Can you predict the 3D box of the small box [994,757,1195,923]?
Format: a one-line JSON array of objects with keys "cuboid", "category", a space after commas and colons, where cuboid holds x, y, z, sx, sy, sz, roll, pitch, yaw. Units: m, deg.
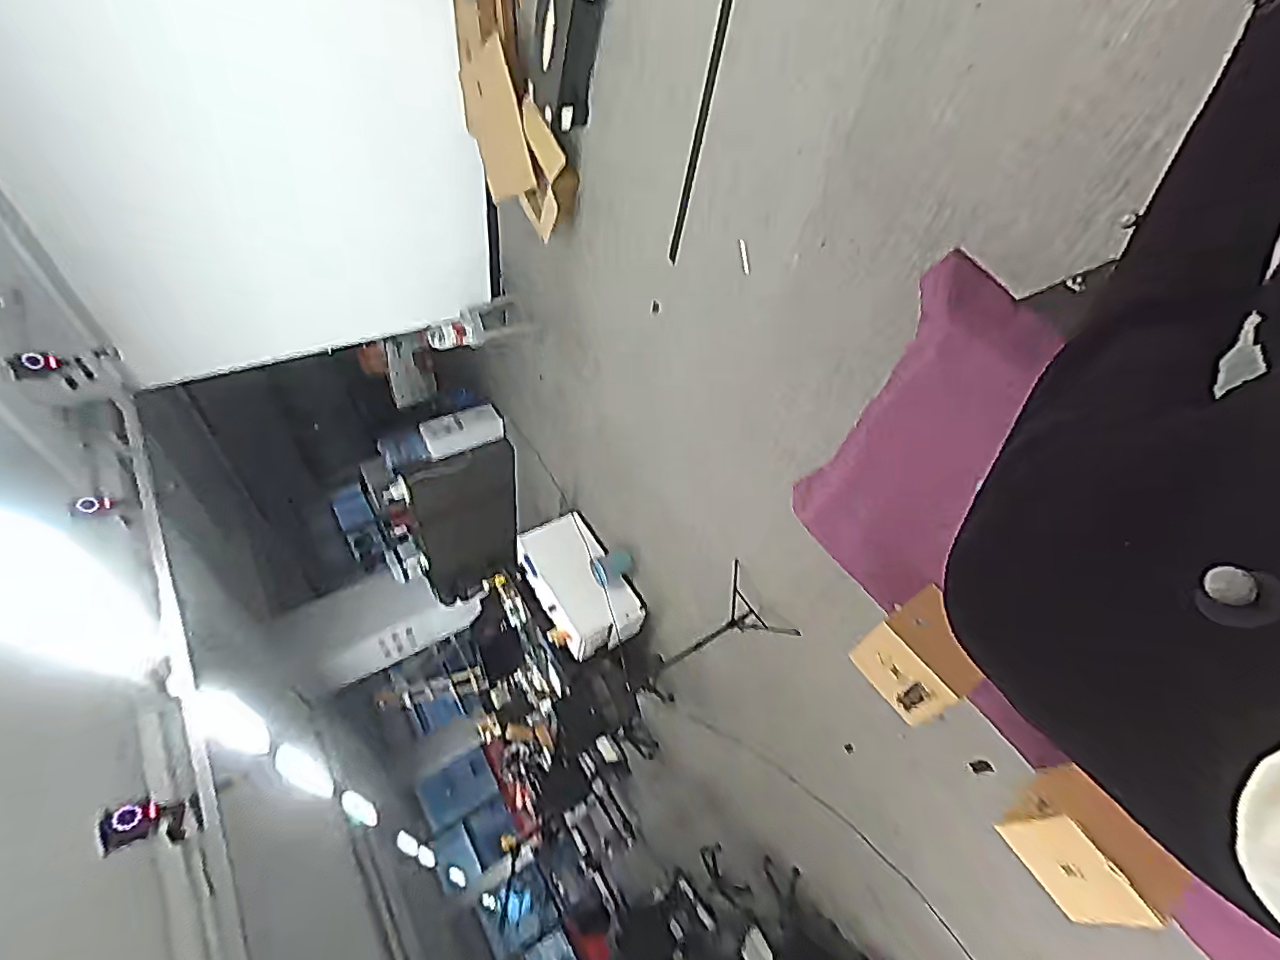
[{"cuboid": [0.773, 0.609, 0.927, 0.168, 0.176, 0.179, 53, 150, 25], "category": "small box"}]
